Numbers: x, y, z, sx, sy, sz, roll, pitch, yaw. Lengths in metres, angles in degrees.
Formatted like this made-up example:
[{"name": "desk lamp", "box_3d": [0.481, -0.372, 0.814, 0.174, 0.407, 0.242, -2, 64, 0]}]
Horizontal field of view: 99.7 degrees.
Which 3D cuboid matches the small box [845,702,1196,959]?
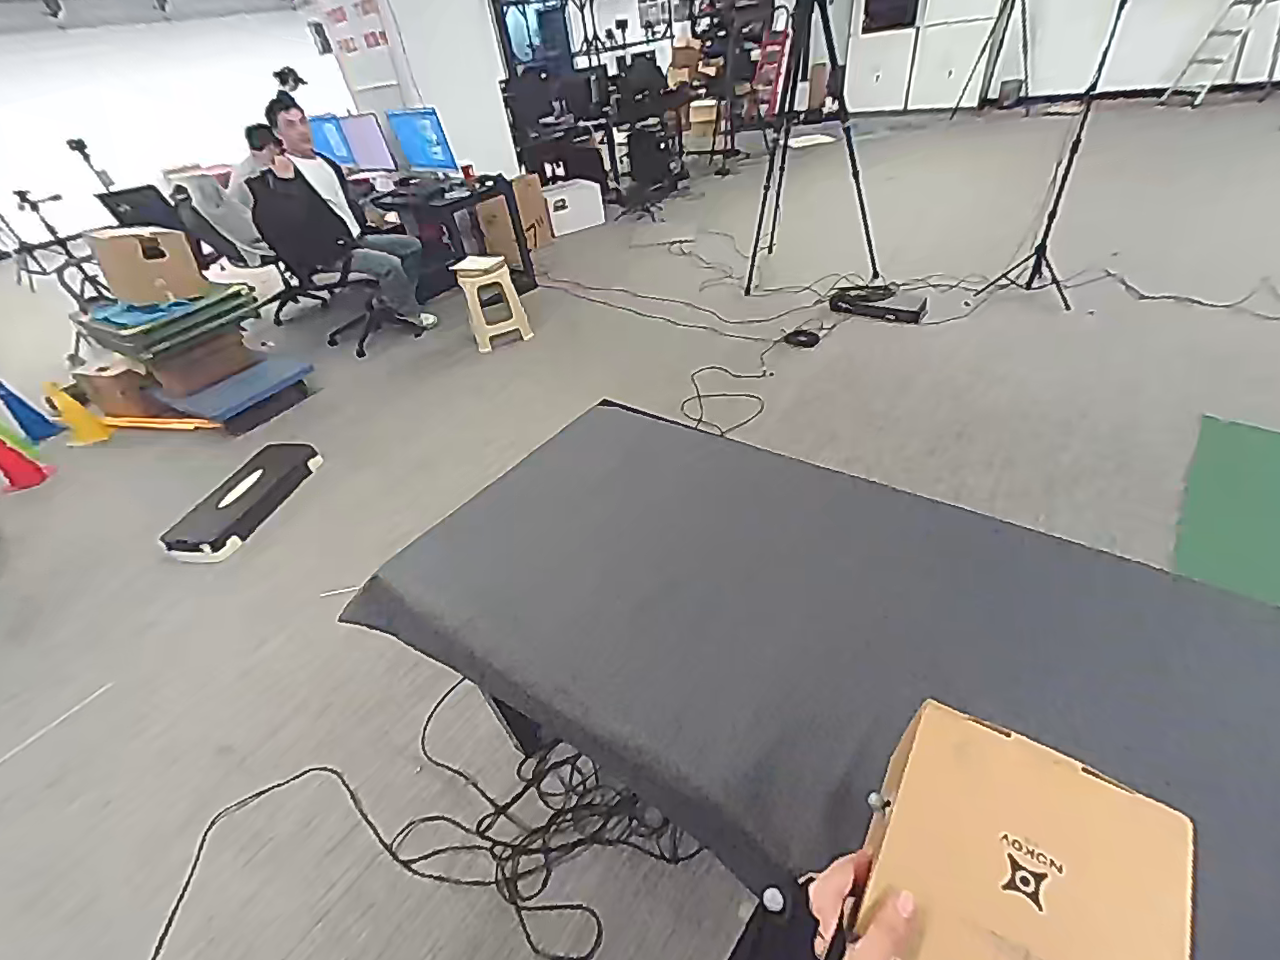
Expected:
[{"name": "small box", "box_3d": [0.267, 0.311, 0.411, 0.168, 0.176, 0.179, 19, 56, 28]}]
